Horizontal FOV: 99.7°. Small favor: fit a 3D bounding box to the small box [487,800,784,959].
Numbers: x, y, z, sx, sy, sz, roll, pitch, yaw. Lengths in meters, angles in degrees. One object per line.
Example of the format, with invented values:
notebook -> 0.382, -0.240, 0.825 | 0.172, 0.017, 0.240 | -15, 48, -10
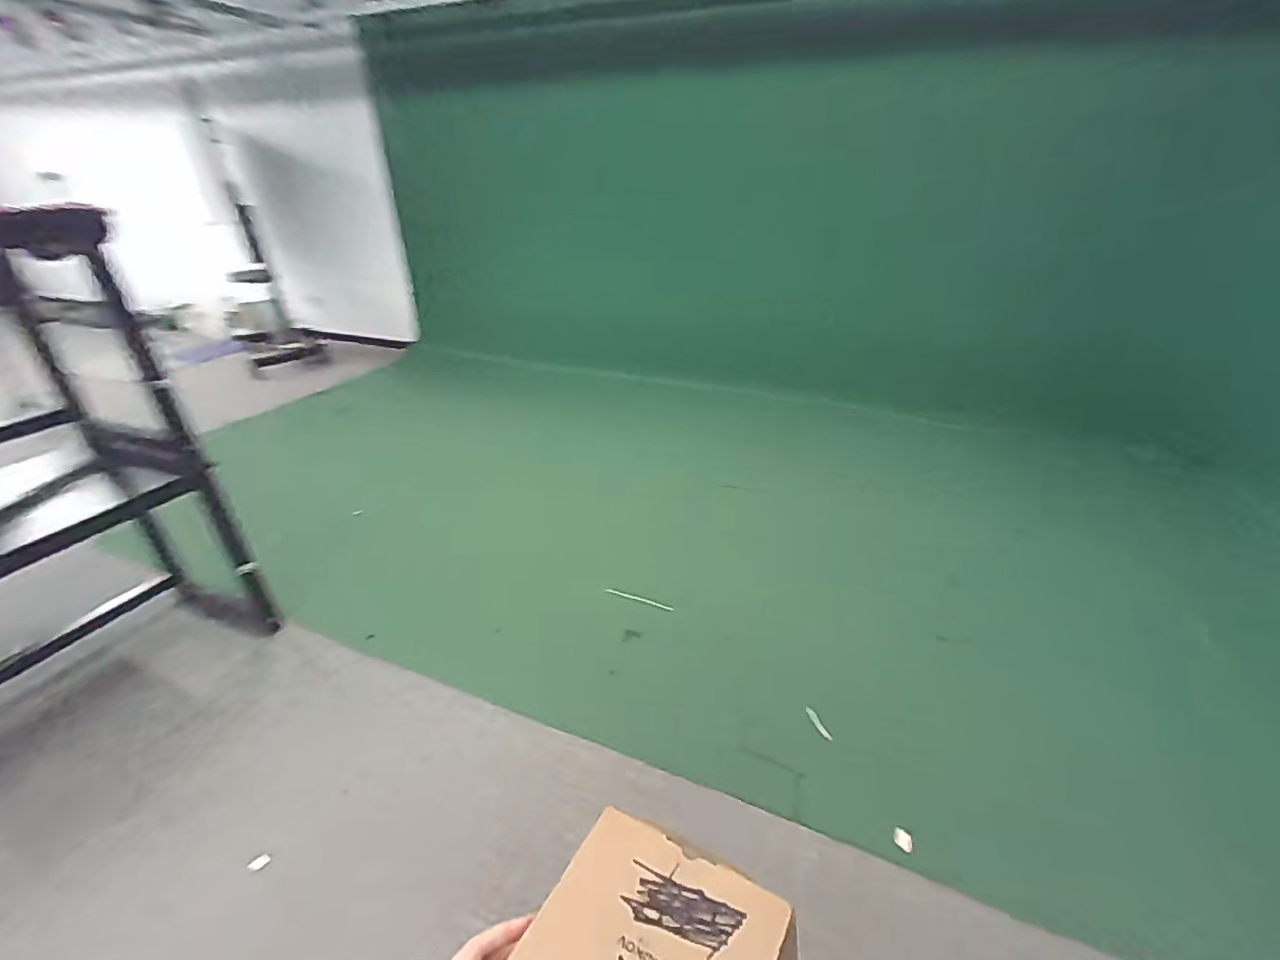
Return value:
small box -> -0.001, 0.391, 0.391 | 0.168, 0.176, 0.179 | 6, 28, 31
